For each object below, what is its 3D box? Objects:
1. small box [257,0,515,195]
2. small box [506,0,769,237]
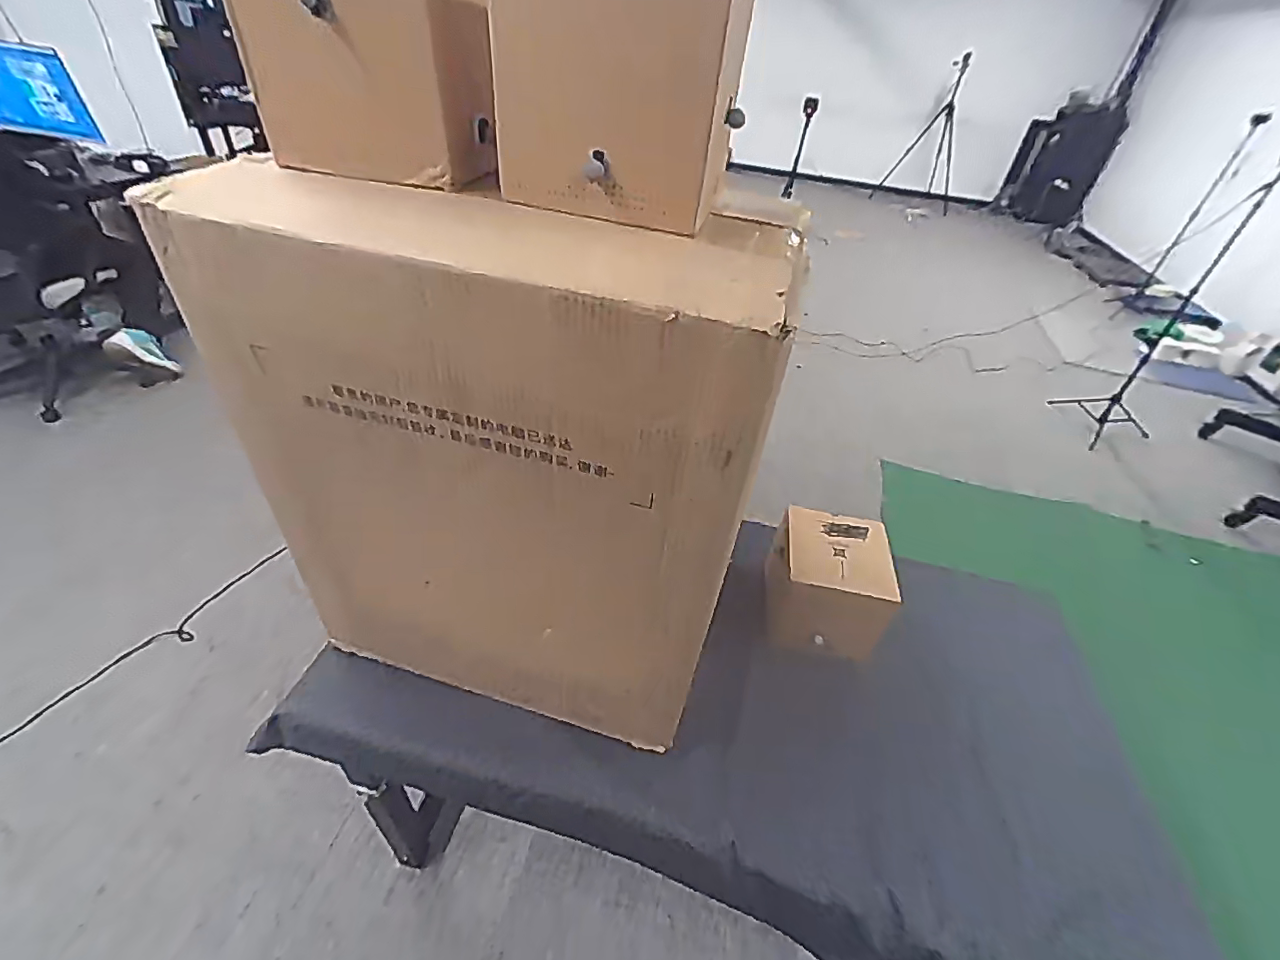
[{"bbox_3d":[-0.215,-0.380,0.502,0.179,0.176,0.168,12,43,5],"label":"small box"},{"bbox_3d":[0.000,-0.329,0.474,0.179,0.176,0.168,14,41,7],"label":"small box"}]
